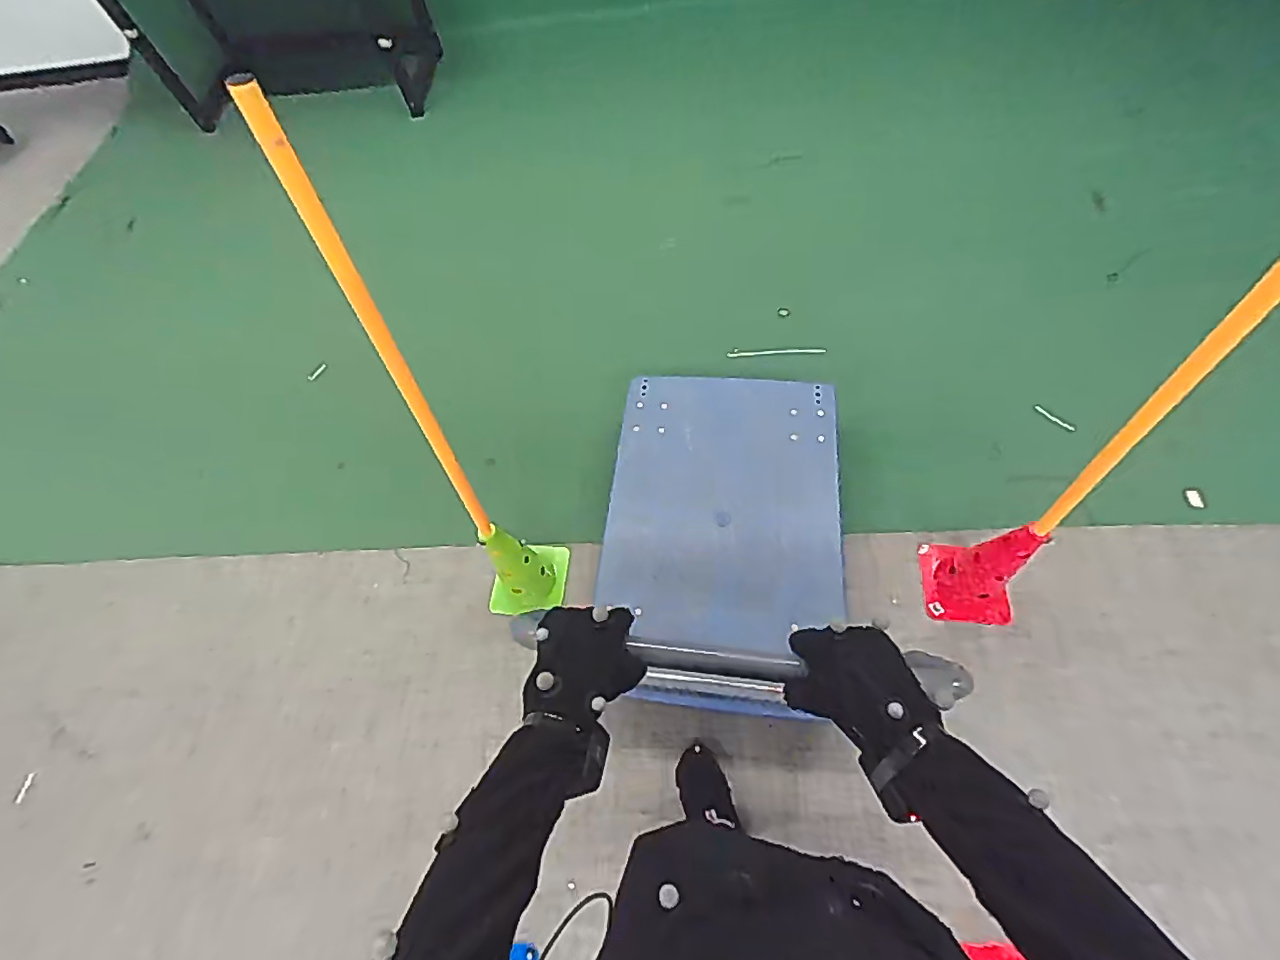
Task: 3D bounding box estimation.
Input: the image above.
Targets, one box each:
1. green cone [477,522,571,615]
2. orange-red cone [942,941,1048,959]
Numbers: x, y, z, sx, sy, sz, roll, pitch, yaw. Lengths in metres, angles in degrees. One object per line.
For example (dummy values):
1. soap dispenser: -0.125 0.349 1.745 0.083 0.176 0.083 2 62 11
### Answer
1. green cone: -0.319 0.192 1.358 0.202 0.368 0.200 2 62 8
2. orange-red cone: 0.669 0.916 0.867 0.199 0.360 0.198 -3 61 7
